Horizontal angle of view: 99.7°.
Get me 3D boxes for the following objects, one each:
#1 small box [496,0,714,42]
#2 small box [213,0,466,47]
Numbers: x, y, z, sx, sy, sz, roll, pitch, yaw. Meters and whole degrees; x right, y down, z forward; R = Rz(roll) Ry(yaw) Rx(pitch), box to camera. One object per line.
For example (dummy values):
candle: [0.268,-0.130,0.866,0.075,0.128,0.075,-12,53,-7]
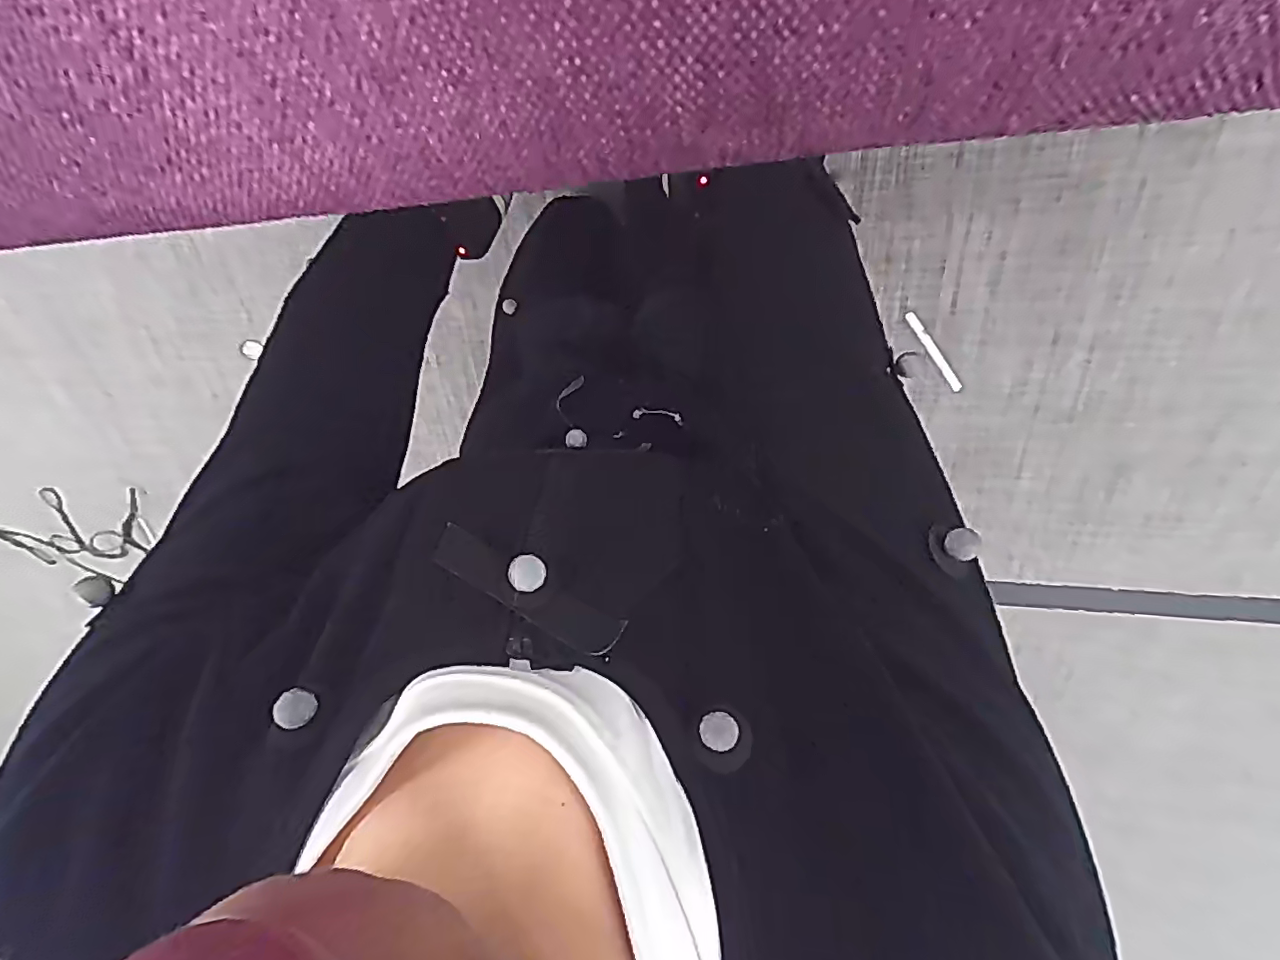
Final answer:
small box: [-0.025,-0.470,0.426,0.179,0.176,0.168,-4,124,8]
small box: [-0.274,-0.509,0.479,0.179,0.176,0.168,0,121,11]
